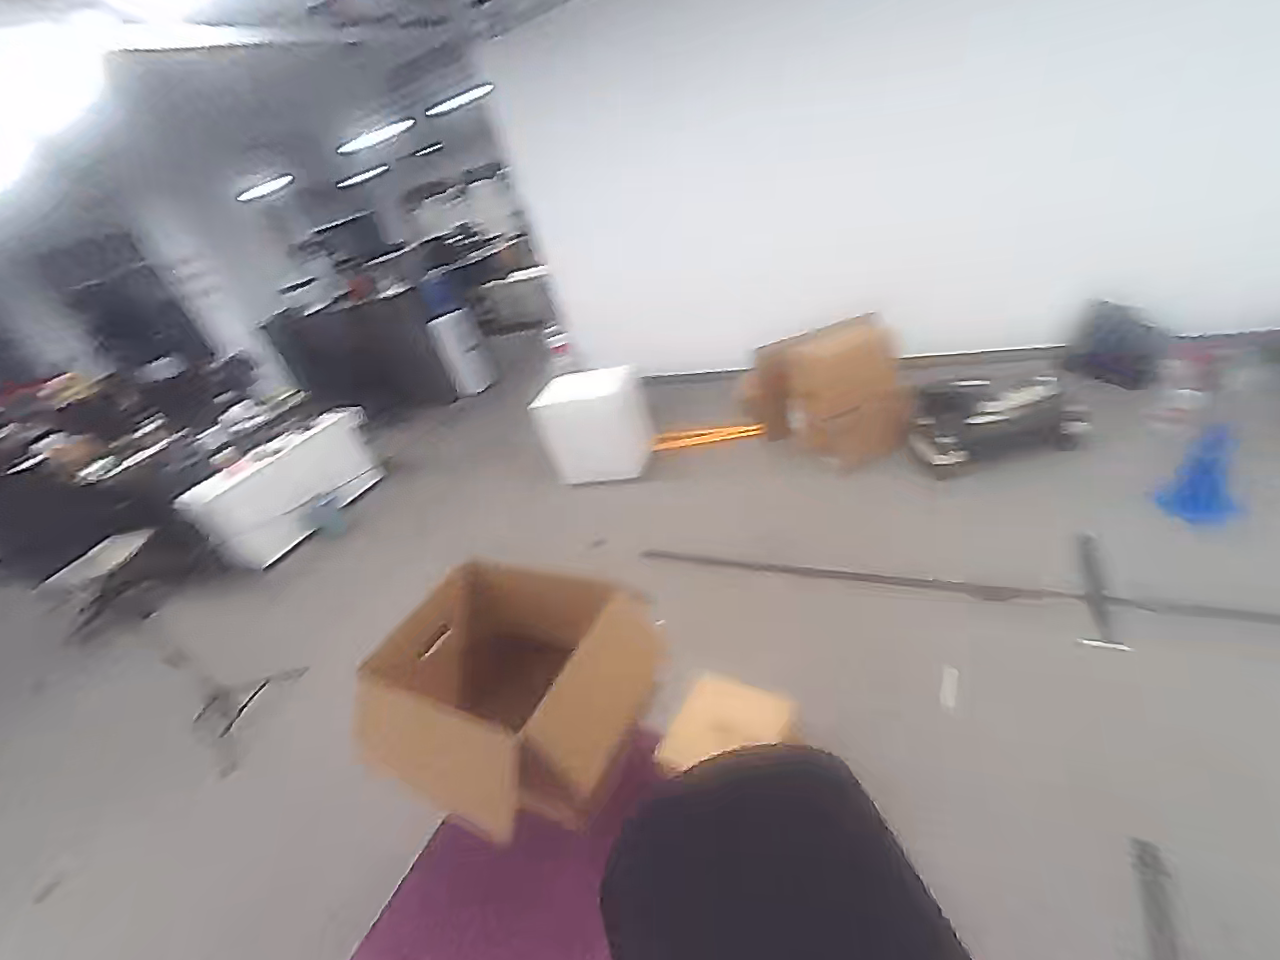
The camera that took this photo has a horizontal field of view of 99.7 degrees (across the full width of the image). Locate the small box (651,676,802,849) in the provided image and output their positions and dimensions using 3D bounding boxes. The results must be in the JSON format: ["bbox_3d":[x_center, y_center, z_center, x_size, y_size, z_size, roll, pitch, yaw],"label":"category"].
[{"bbox_3d":[0.149,0.459,0.885,0.179,0.176,0.168,5,39,35],"label":"small box"}]
